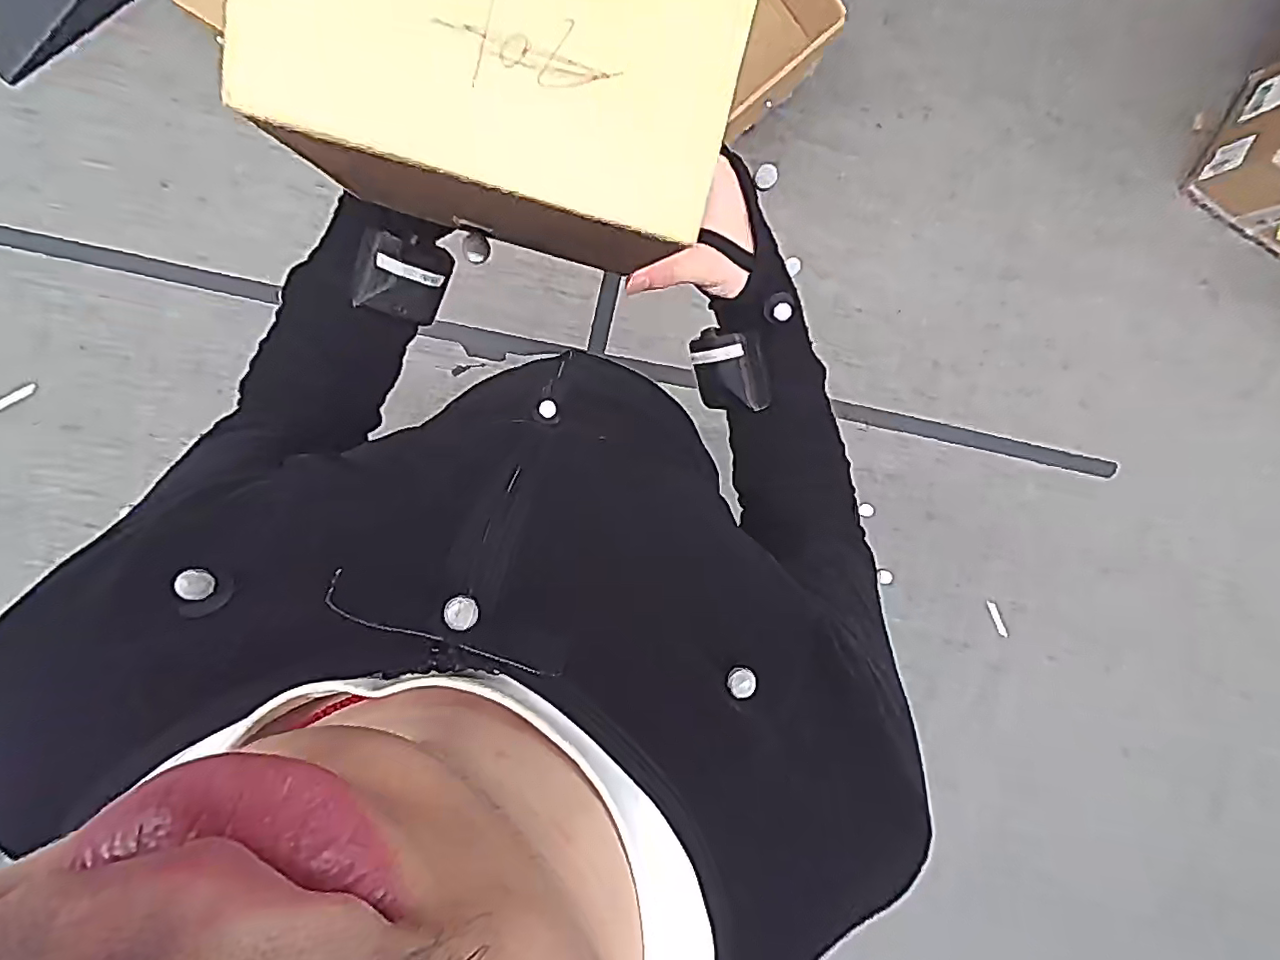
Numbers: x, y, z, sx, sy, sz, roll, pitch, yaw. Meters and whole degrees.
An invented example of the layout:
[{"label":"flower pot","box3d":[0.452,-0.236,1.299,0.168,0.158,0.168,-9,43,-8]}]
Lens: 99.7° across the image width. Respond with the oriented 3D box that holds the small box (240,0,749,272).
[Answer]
[{"label":"small box","box3d":[-0.053,-0.215,0.260,0.168,0.176,0.179,11,104,-14]}]
